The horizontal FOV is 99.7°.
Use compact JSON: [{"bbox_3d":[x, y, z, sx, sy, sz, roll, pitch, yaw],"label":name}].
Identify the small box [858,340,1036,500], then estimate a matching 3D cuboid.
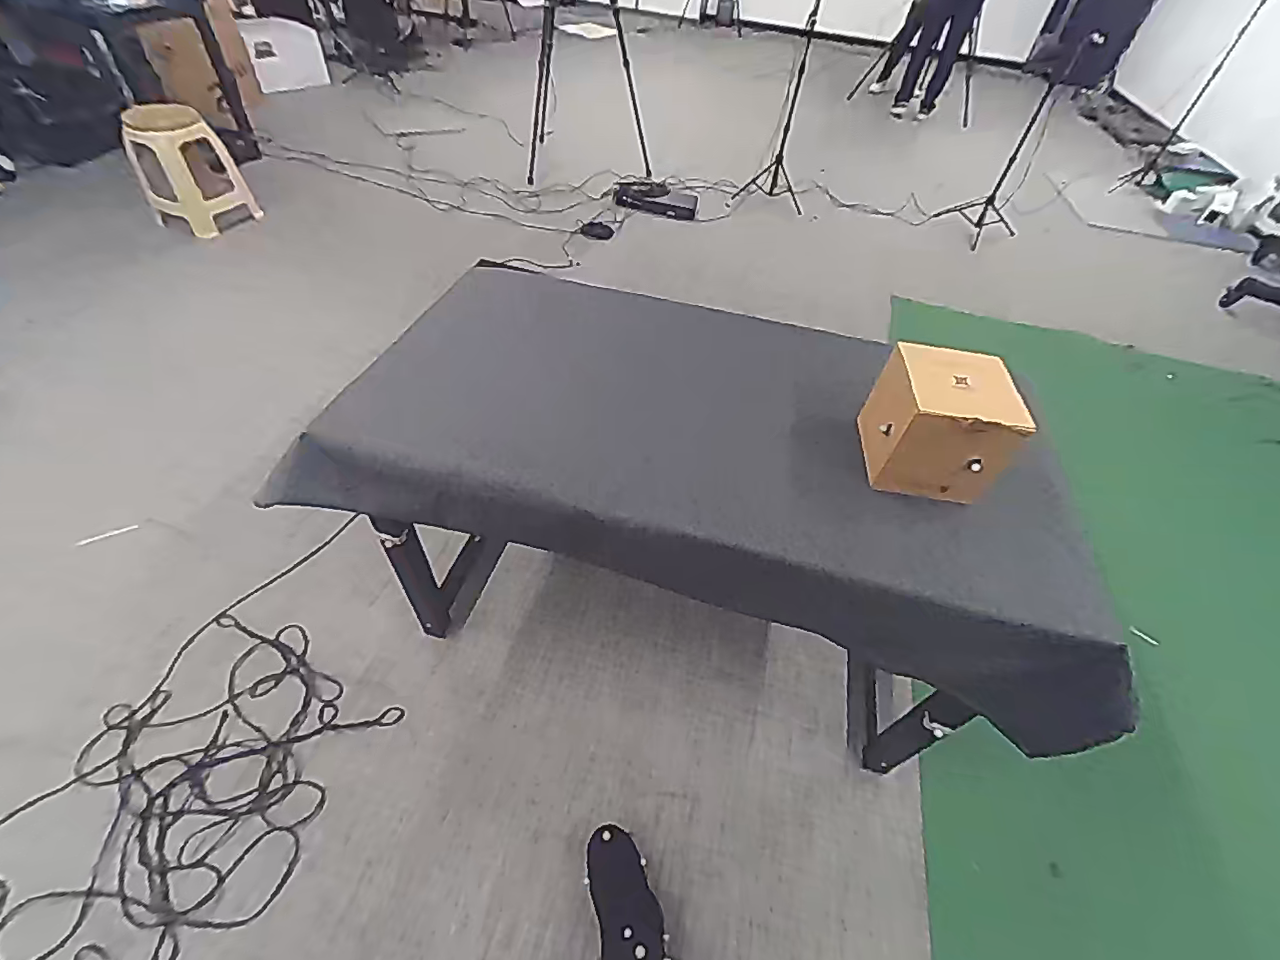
[{"bbox_3d":[0.464,-0.091,0.851,0.168,0.176,0.179,10,47,1],"label":"small box"}]
